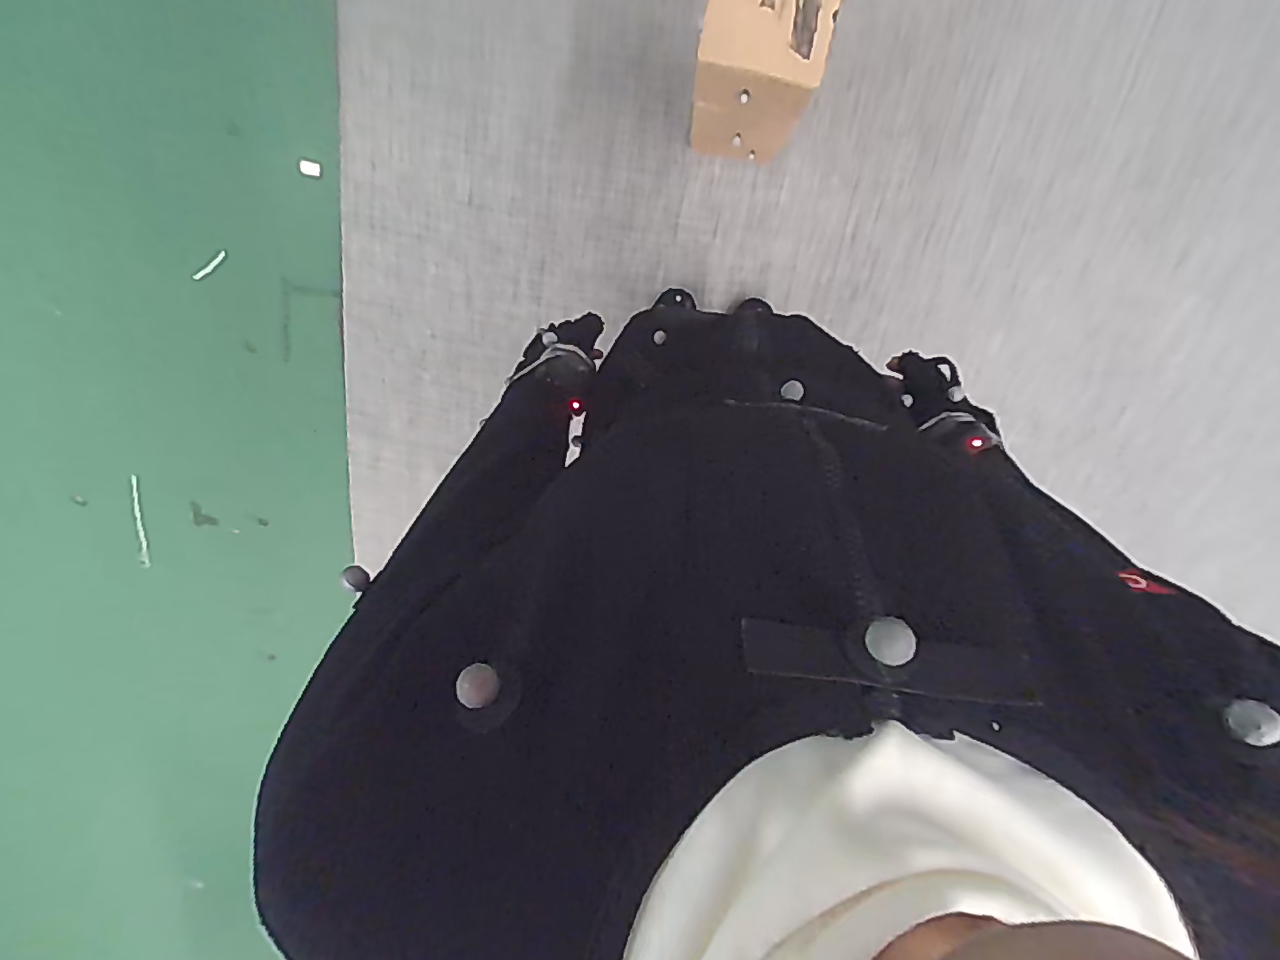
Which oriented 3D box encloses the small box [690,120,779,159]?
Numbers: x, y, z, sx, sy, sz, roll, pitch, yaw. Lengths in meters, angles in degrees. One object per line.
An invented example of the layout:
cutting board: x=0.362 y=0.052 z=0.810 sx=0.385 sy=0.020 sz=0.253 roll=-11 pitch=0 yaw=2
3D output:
small box: x=0.202 y=-0.773 z=1.101 sx=0.179 sy=0.176 sz=0.168 roll=11 pitch=110 yaw=2

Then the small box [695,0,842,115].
small box: x=0.183 y=-0.661 z=0.793 sx=0.179 sy=0.176 sz=0.168 roll=10 pitch=110 yaw=0

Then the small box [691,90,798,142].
small box: x=0.193 y=-0.715 z=0.949 sx=0.179 sy=0.176 sz=0.168 roll=12 pitch=110 yaw=0
